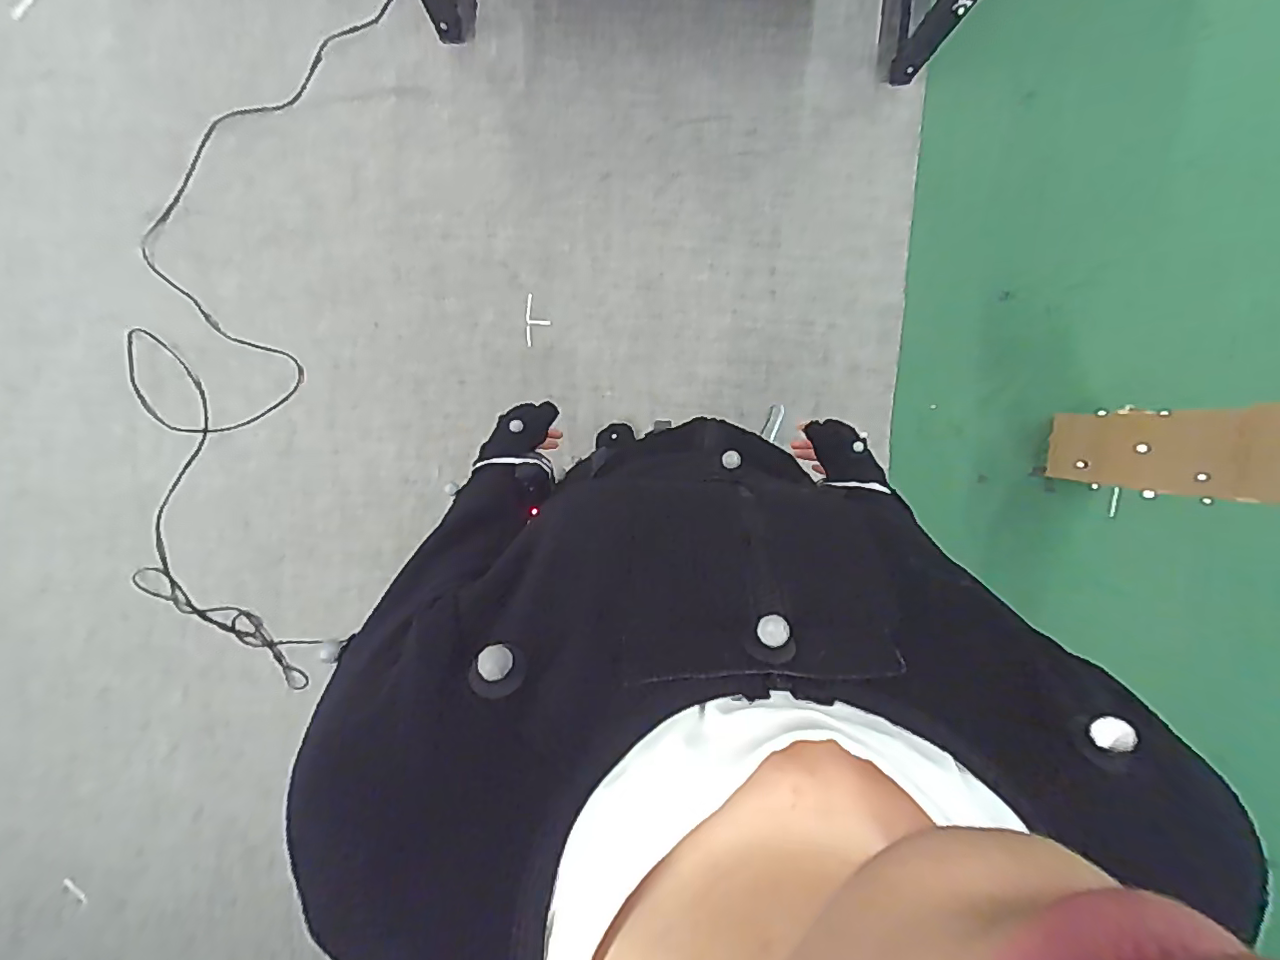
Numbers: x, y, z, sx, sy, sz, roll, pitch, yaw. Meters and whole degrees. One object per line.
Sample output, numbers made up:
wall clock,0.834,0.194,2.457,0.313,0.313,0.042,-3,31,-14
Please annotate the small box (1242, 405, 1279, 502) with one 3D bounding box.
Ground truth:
small box,1.214,-0.039,0.930,0.168,0.176,0.179,6,95,-2

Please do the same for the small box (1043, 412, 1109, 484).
small box,1.208,-0.085,1.420,0.168,0.176,0.179,4,97,-2

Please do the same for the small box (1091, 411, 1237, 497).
small box,1.205,-0.066,1.258,0.168,0.176,0.179,5,96,-2
